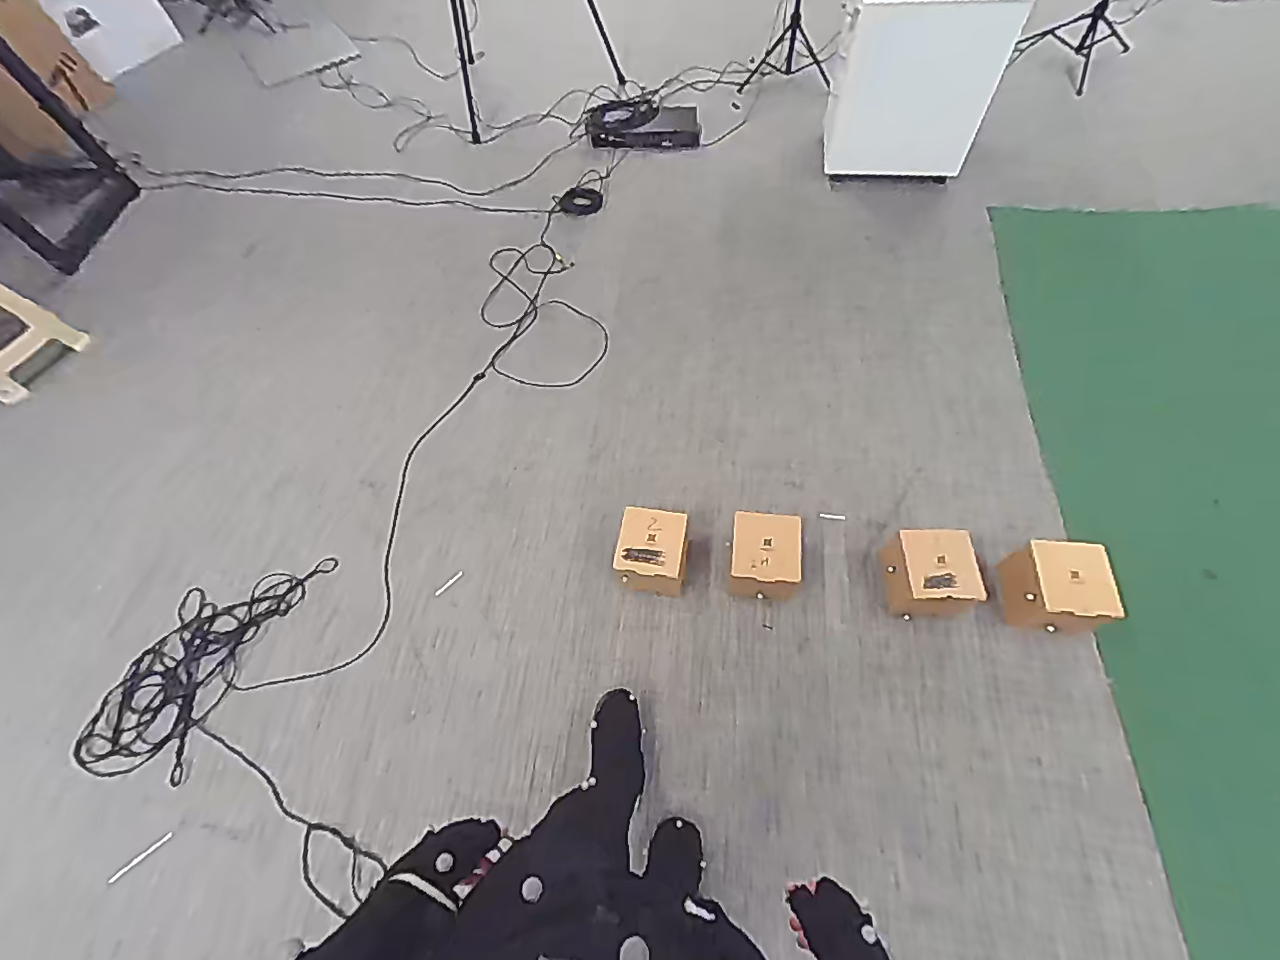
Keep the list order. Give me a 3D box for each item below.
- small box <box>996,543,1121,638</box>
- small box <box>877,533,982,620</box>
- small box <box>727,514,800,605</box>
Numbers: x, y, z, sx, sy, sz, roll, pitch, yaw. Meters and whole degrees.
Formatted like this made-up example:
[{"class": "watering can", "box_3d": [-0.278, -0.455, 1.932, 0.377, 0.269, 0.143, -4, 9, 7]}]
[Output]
[{"class": "small box", "box_3d": [1.003, 0.272, 1.318, 0.168, 0.176, 0.179, 3, 61, 7]}, {"class": "small box", "box_3d": [0.713, 0.246, 1.352, 0.168, 0.176, 0.179, 0, 60, 4]}, {"class": "small box", "box_3d": [0.316, 0.209, 1.400, 0.168, 0.176, 0.179, 4, 62, 8]}]
